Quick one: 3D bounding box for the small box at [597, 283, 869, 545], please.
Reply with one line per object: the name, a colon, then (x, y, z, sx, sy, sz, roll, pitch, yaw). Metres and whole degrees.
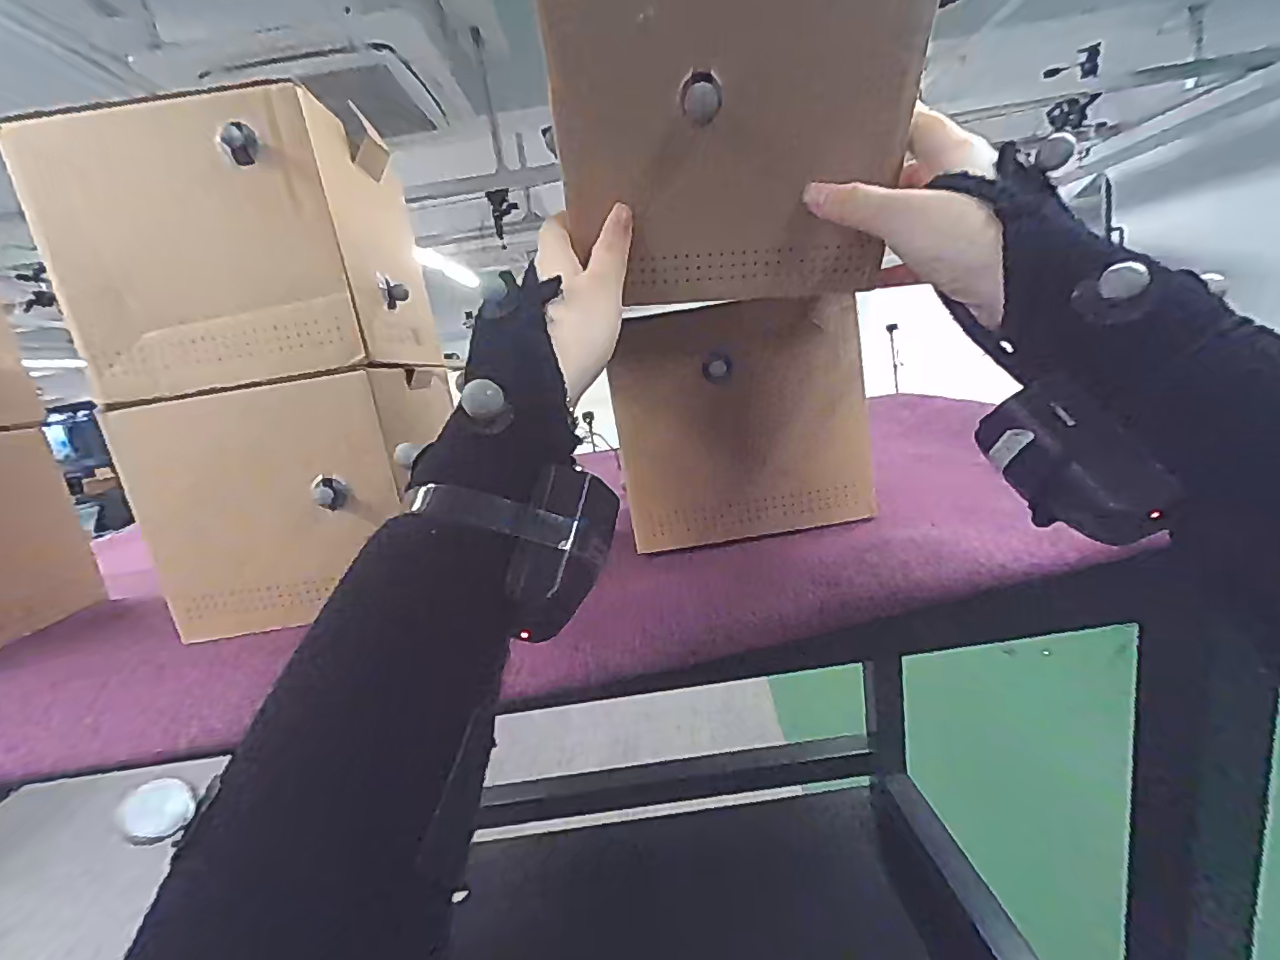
small box: (0.071, -0.052, 0.452, 0.179, 0.176, 0.168, -9, 11, 2)

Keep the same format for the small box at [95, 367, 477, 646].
small box: (-0.246, 0.009, 0.432, 0.179, 0.176, 0.168, -10, 12, -1)

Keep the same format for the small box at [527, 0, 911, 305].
small box: (0.042, -0.215, 0.324, 0.179, 0.176, 0.168, -3, 40, 3)

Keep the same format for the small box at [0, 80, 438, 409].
small box: (-0.275, -0.149, 0.400, 0.179, 0.176, 0.168, -10, 12, -2)

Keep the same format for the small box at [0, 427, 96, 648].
small box: (-0.583, 0.066, 0.405, 0.168, 0.176, 0.179, -8, 13, -2)
